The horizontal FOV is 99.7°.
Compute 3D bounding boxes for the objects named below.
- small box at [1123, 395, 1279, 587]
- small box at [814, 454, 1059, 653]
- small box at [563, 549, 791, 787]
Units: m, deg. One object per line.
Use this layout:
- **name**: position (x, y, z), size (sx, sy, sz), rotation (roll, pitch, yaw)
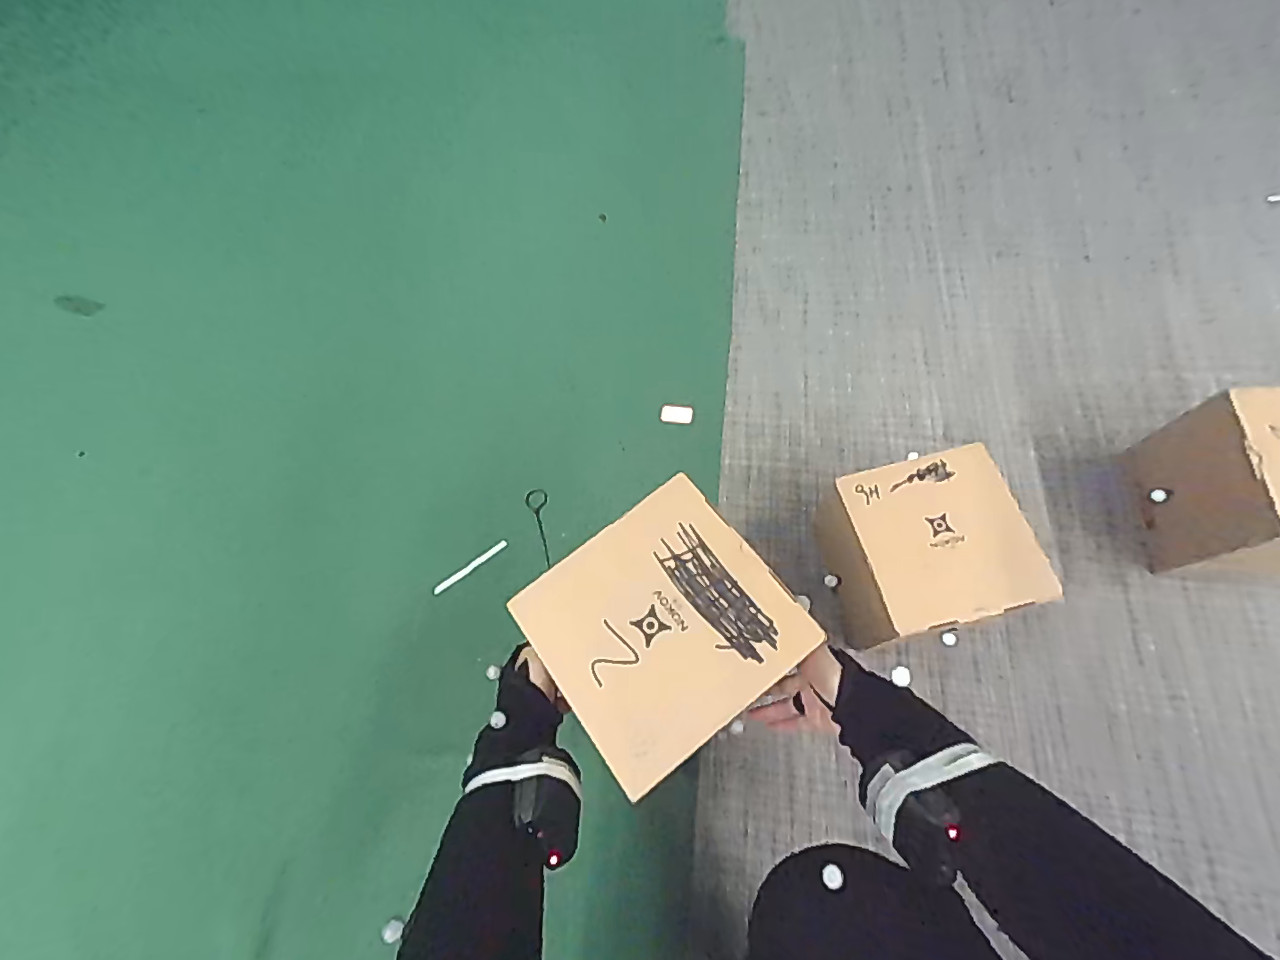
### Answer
- **small box**: position (0.709, 0.020, 0.603), size (0.179, 0.176, 0.168), rotation (1, 66, 8)
- **small box**: position (0.318, 0.096, 0.626), size (0.168, 0.176, 0.179), rotation (-14, 66, 2)
- **small box**: position (0.044, 0.213, 0.615), size (0.179, 0.176, 0.168), rotation (-37, 67, -10)
